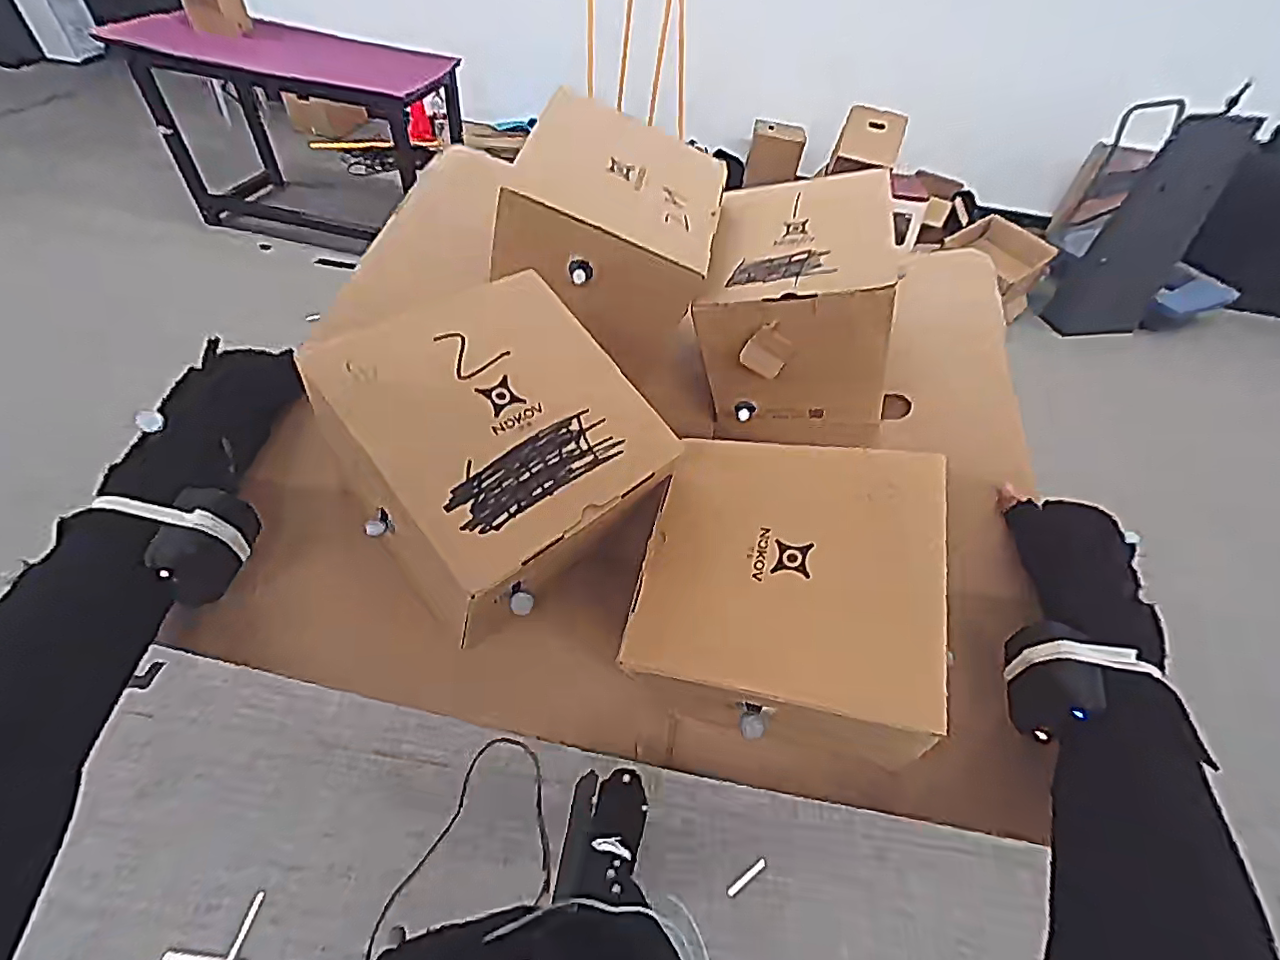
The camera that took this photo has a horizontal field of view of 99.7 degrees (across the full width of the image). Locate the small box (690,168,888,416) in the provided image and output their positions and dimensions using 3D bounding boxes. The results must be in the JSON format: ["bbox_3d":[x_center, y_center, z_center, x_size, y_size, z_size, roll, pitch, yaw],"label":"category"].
[{"bbox_3d":[0.160,-0.180,0.558,0.168,0.176,0.179,2,57,20],"label":"small box"}]
